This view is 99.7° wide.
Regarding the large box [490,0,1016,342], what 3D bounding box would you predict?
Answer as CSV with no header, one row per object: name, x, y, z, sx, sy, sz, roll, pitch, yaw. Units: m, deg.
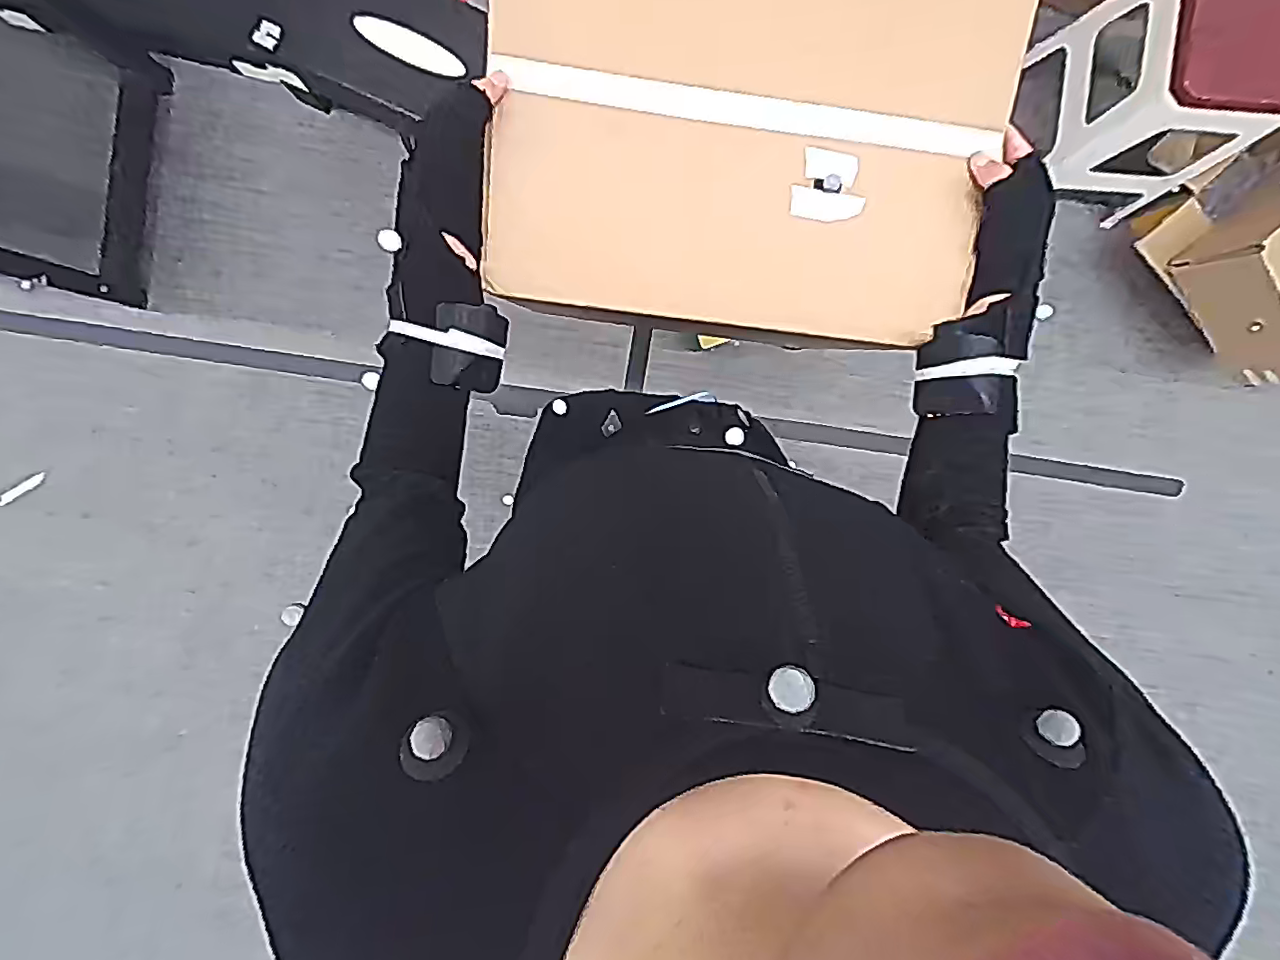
large box,0.075,-0.326,0.575,0.408,0.320,0.320,6,105,-5
